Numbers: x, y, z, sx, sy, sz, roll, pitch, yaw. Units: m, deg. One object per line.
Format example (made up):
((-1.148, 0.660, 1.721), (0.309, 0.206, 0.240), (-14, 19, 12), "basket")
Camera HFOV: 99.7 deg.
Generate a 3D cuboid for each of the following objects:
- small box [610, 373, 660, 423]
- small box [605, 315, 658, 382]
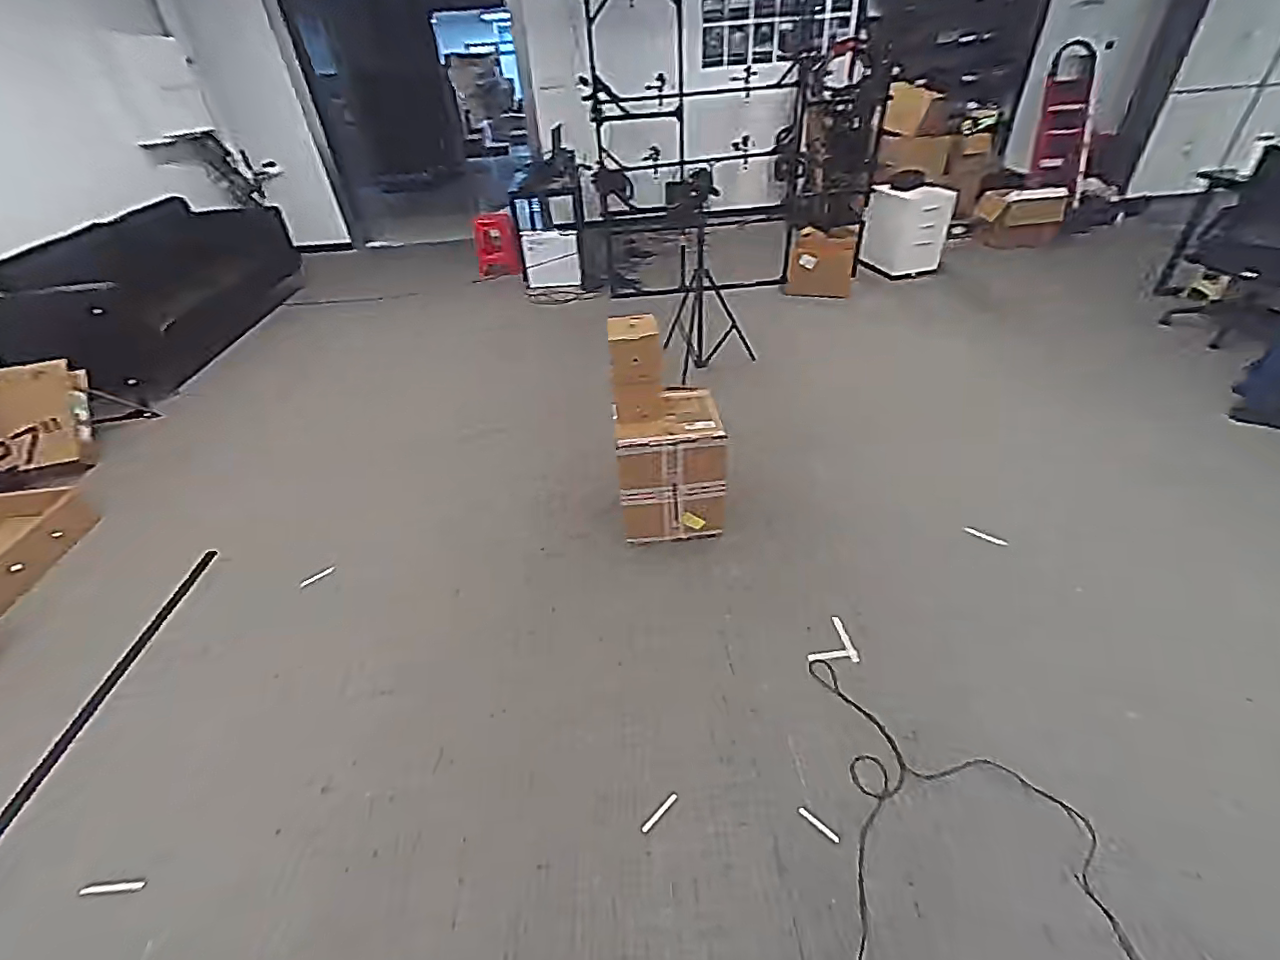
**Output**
((-0.021, -0.332, 1.995), (0.168, 0.176, 0.179), (-8, 40, -1), "small box")
((-0.029, -0.453, 1.884), (0.168, 0.176, 0.179), (-7, 40, 0), "small box")
